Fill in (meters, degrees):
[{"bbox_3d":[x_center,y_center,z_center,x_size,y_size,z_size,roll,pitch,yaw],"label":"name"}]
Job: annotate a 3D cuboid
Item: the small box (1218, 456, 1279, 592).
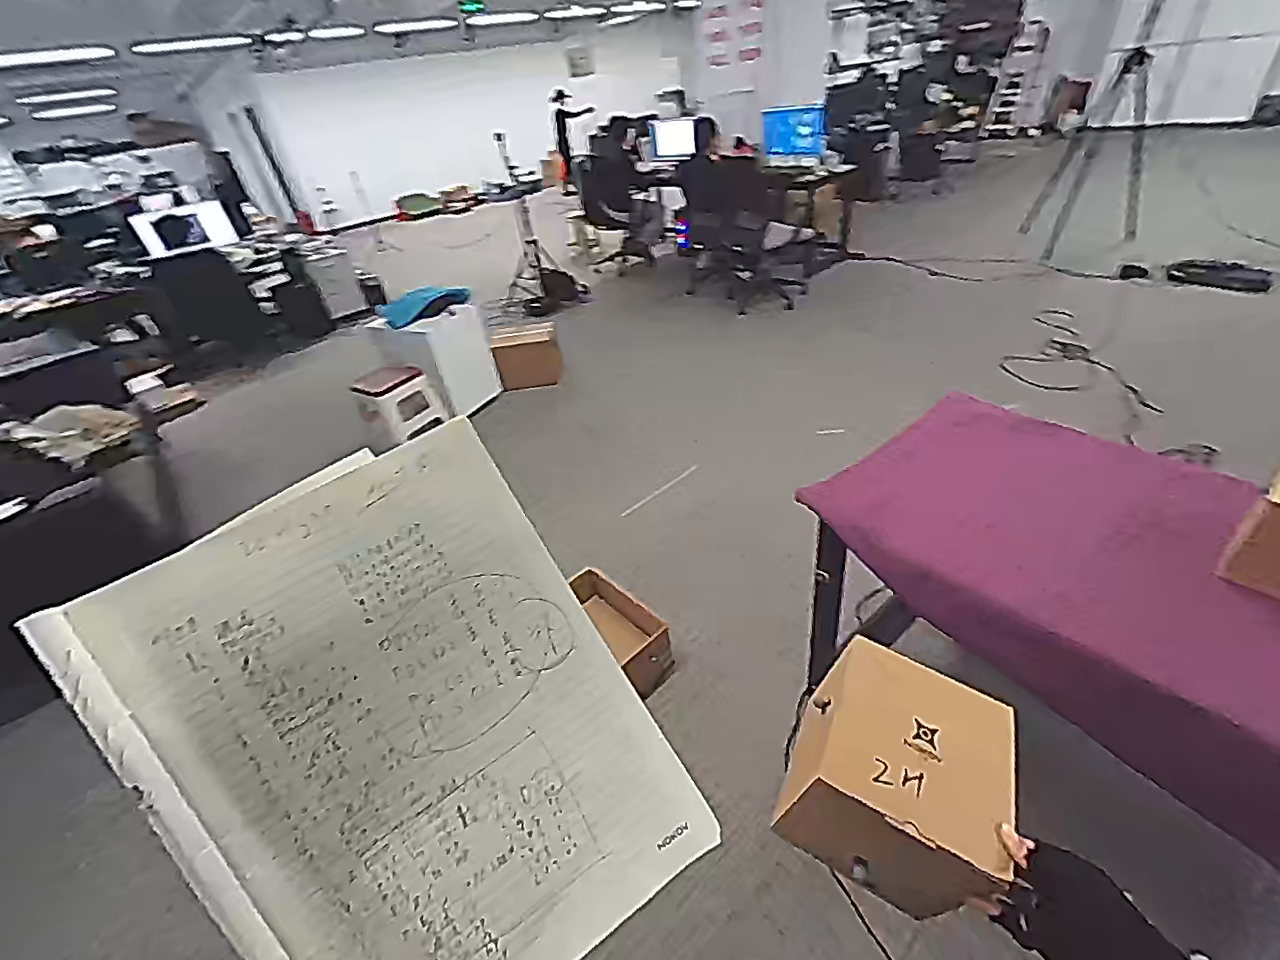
[{"bbox_3d":[1.050,0.078,0.831,0.179,0.176,0.168,-31,41,-27],"label":"small box"}]
